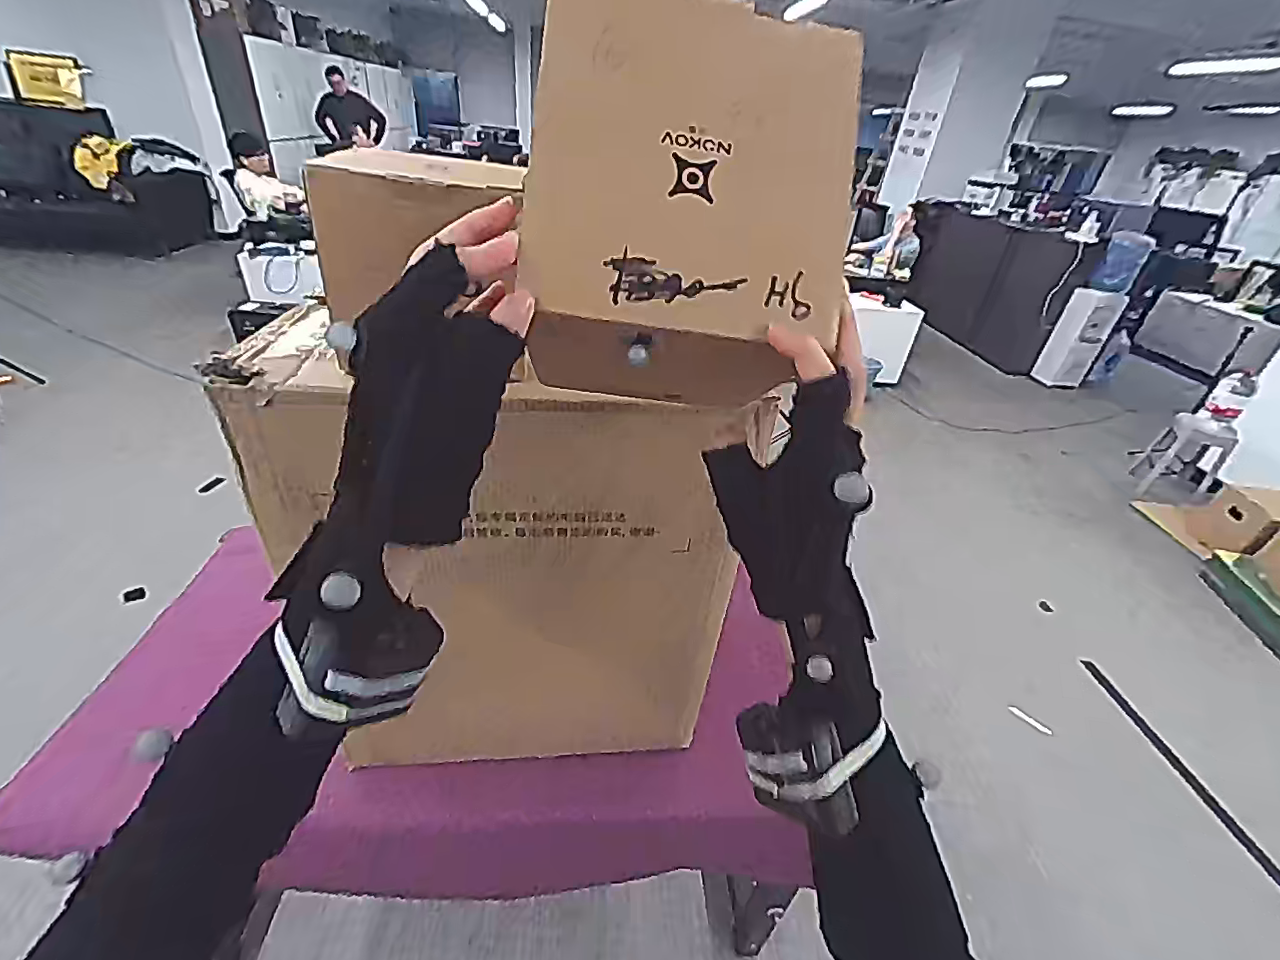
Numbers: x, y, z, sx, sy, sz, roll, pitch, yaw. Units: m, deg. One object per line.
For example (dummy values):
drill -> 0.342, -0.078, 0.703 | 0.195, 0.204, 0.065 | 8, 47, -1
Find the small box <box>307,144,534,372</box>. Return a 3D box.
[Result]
small box -> -0.189, -0.214, 0.525 | 0.168, 0.176, 0.179 | 2, 33, -11

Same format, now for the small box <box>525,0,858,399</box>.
small box -> 0.021, -0.166, 0.357 | 0.168, 0.179, 0.176 | 6, -6, -7
